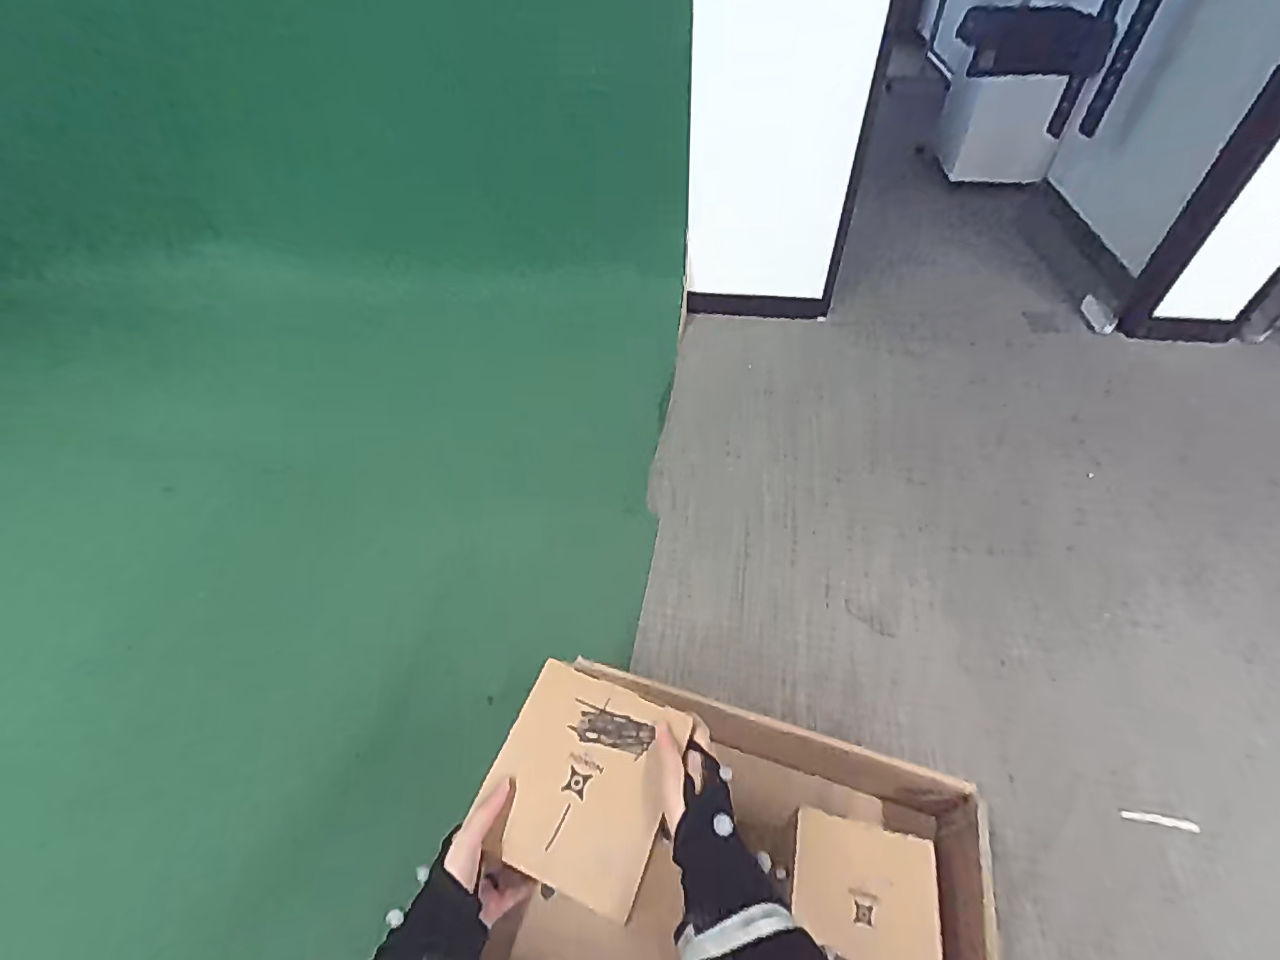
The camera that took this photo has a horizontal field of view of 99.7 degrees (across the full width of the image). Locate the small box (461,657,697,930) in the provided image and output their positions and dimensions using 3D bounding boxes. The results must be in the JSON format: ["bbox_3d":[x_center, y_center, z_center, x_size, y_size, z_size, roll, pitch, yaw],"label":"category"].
[{"bbox_3d":[-0.050,0.320,0.561,0.168,0.176,0.179,17,56,15],"label":"small box"}]
